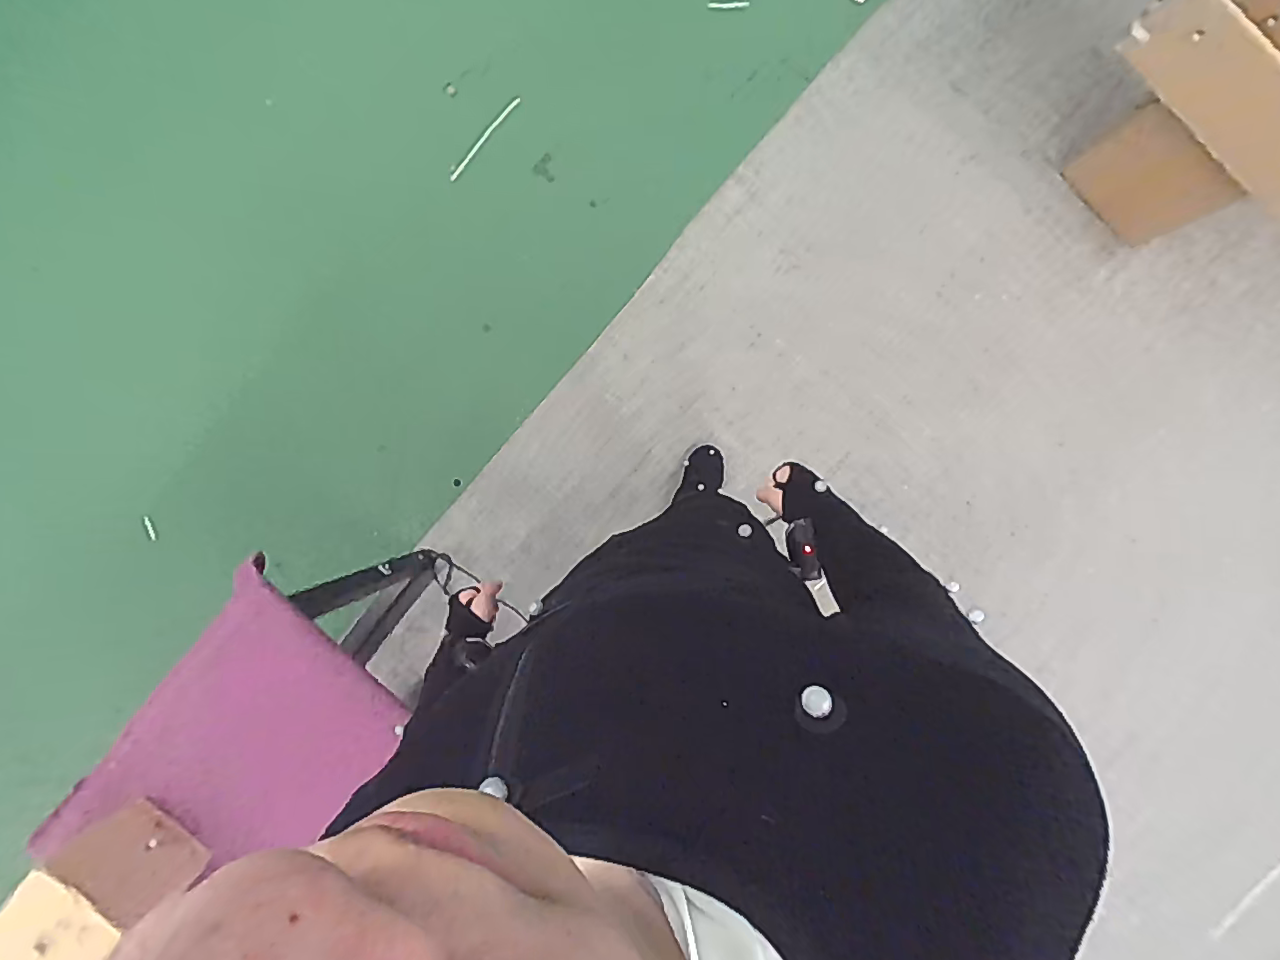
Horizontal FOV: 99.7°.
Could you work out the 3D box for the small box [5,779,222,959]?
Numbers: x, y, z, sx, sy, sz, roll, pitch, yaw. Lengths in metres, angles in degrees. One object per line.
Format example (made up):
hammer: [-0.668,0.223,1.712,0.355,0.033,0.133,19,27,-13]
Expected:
small box: [-0.874,0.663,0.918,0.168,0.176,0.179,40,93,-1]
